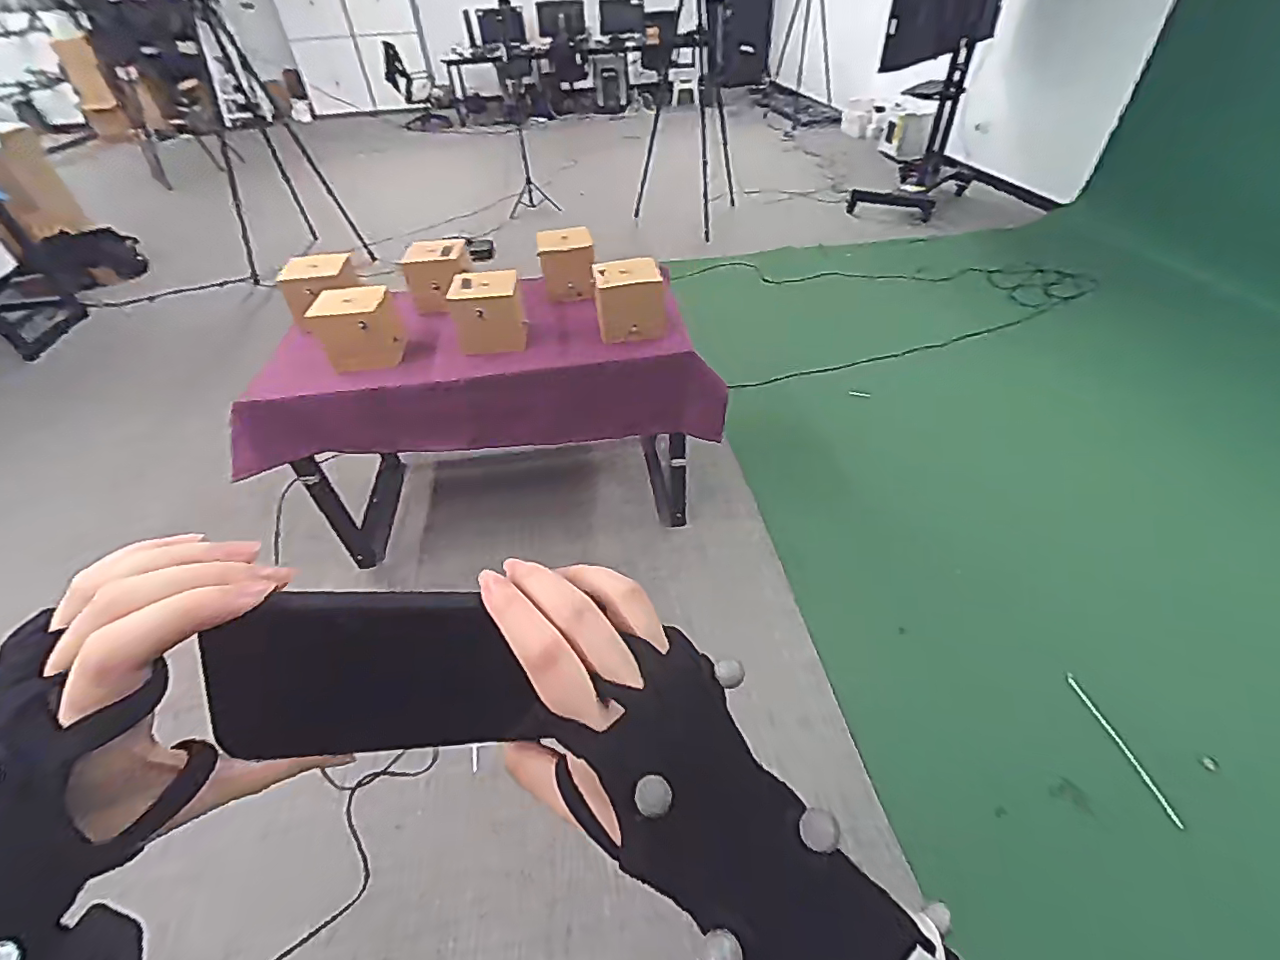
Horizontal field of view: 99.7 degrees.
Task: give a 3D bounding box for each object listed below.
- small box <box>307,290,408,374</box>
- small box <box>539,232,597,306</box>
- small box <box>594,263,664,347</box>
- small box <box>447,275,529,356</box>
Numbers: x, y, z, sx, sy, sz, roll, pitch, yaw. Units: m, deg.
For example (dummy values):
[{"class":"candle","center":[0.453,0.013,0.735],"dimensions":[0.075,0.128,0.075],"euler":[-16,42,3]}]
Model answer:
[{"class":"small box","center":[-0.768,-0.406,1.490],"dimensions":[0.179,0.176,0.168],"euler":[-5,43,-4]},{"class":"small box","center":[-0.232,-0.681,1.745],"dimensions":[0.168,0.176,0.179],"euler":[-9,44,-5]},{"class":"small box","center":[-0.032,-0.495,1.533],"dimensions":[0.179,0.176,0.168],"euler":[-8,43,-5]},{"class":"small box","center":[-0.421,-0.460,1.523],"dimensions":[0.179,0.176,0.168],"euler":[-4,43,-2]}]
